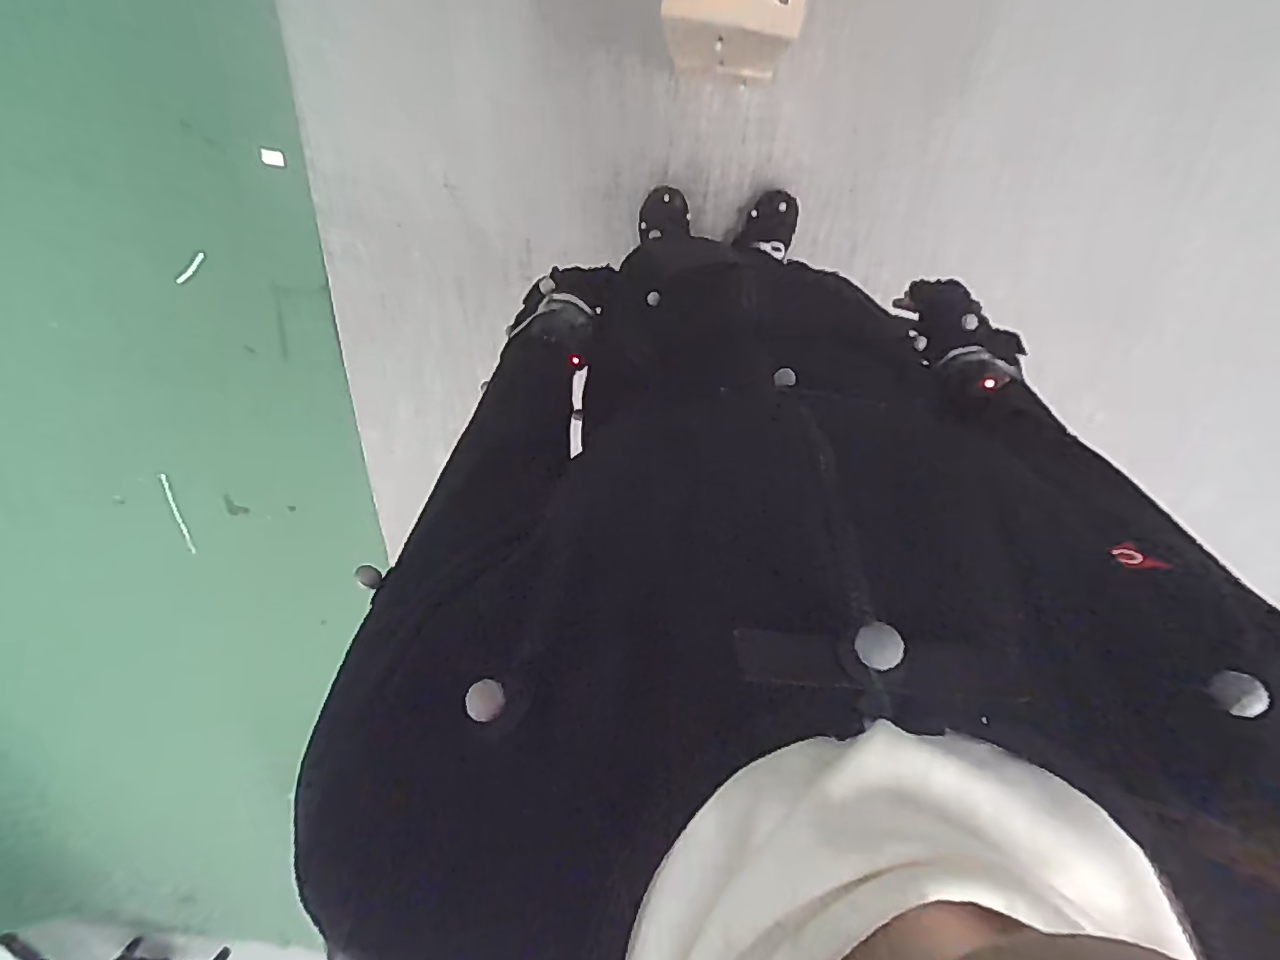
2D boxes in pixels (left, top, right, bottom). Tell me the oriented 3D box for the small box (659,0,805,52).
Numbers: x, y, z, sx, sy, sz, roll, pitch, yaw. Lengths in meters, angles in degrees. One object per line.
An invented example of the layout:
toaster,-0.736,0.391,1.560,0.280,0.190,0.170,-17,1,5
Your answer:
small box,0.127,-0.672,0.686,0.179,0.176,0.168,12,119,-2

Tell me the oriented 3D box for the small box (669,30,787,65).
small box,0.146,-0.759,0.828,0.179,0.176,0.168,9,121,-1
